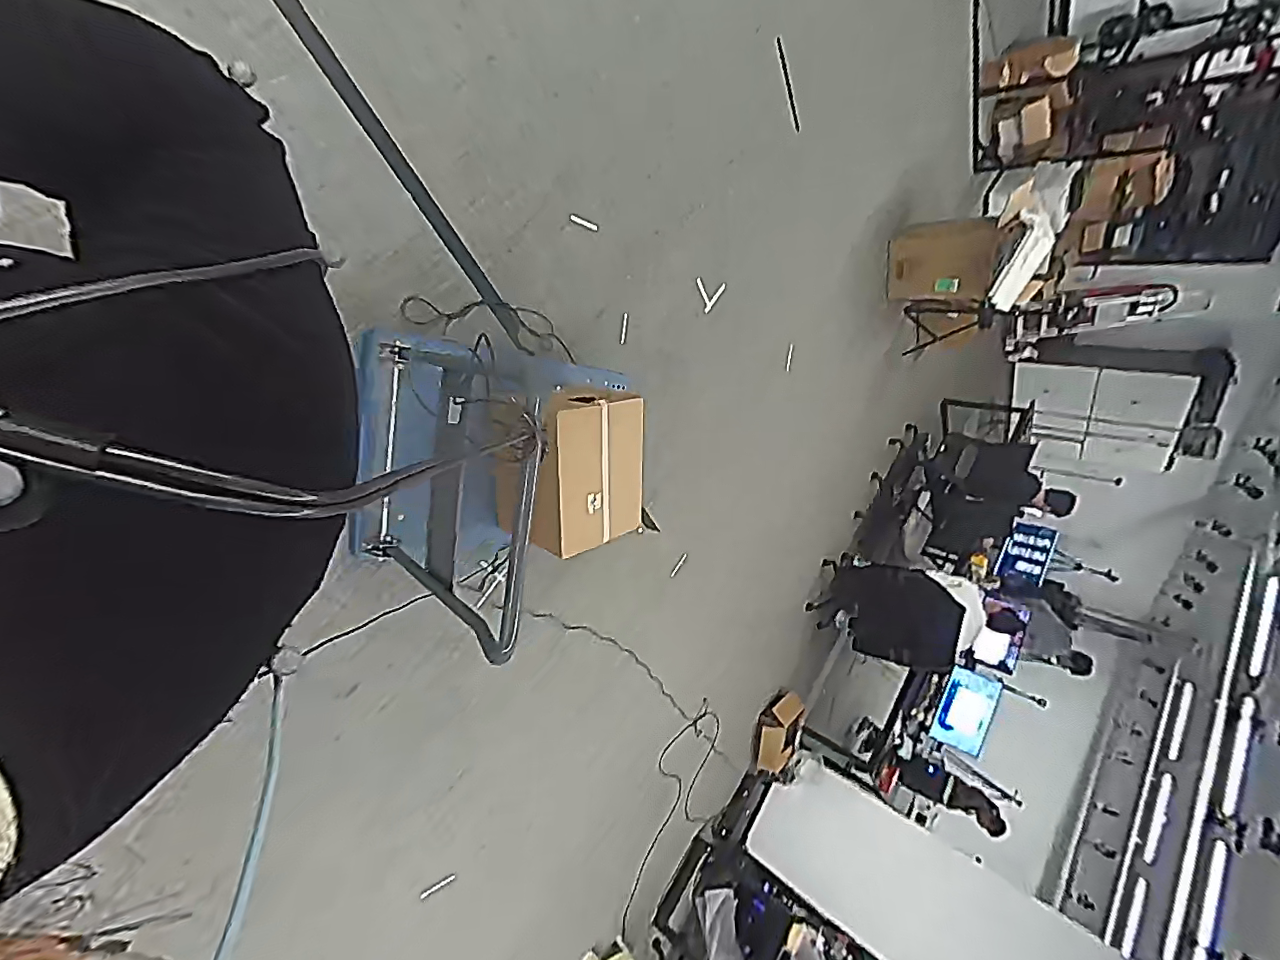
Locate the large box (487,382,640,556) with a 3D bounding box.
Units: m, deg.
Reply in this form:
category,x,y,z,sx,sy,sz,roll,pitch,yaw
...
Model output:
category,x,y,z,sx,sy,sz,roll,pitch,yaw
large box,-0.216,-0.052,1.568,0.320,0.320,0.408,-18,117,-43
